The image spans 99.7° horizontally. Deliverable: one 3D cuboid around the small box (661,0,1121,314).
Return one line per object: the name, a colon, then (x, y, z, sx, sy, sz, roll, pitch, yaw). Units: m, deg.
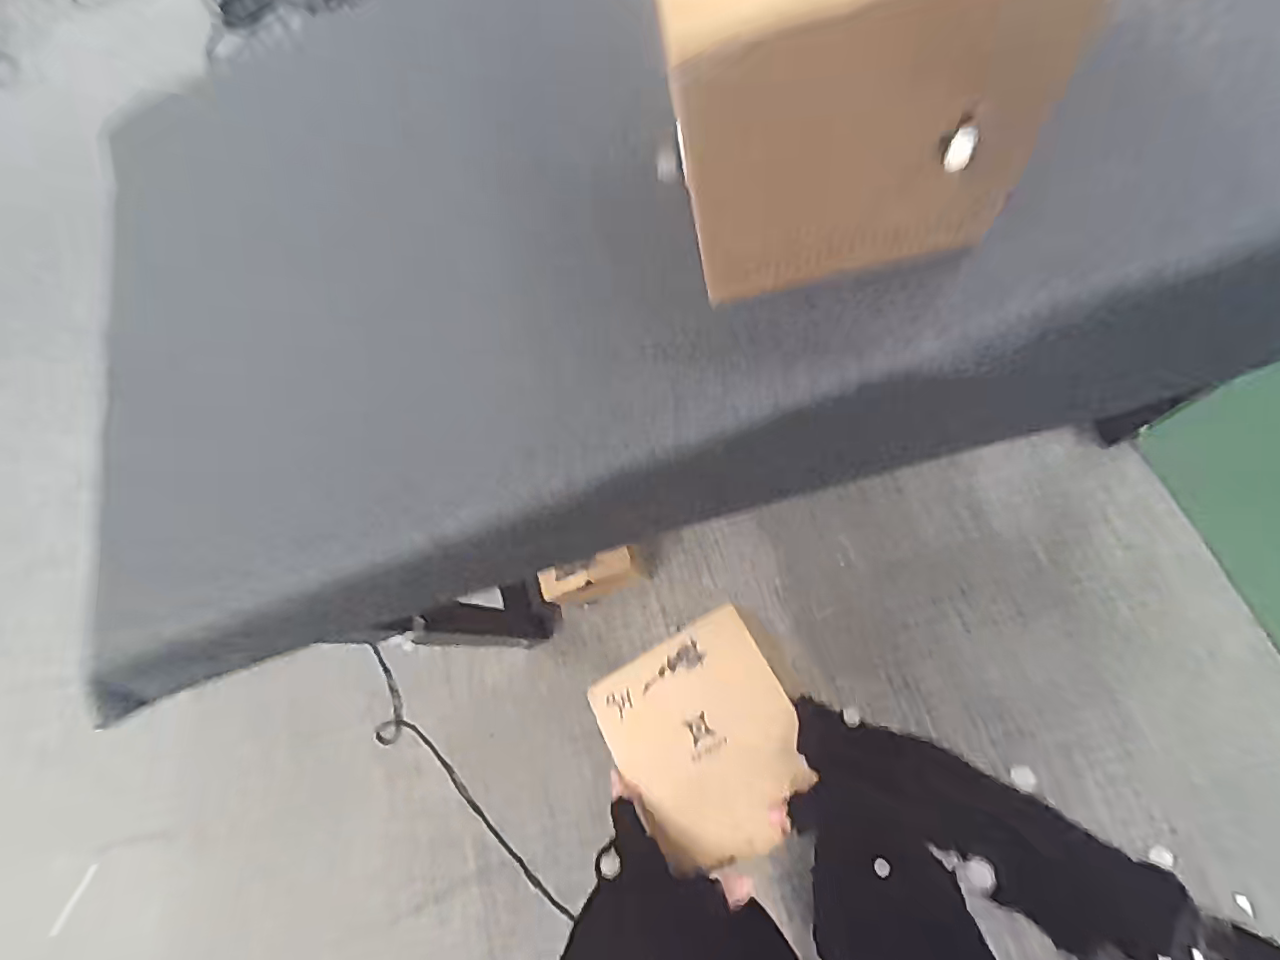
small box: (0.111, -0.226, 0.316, 0.179, 0.176, 0.168, -10, 69, 10)

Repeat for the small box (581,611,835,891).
small box: (0.075, 0.248, 0.535, 0.168, 0.176, 0.179, -32, 66, 7)
